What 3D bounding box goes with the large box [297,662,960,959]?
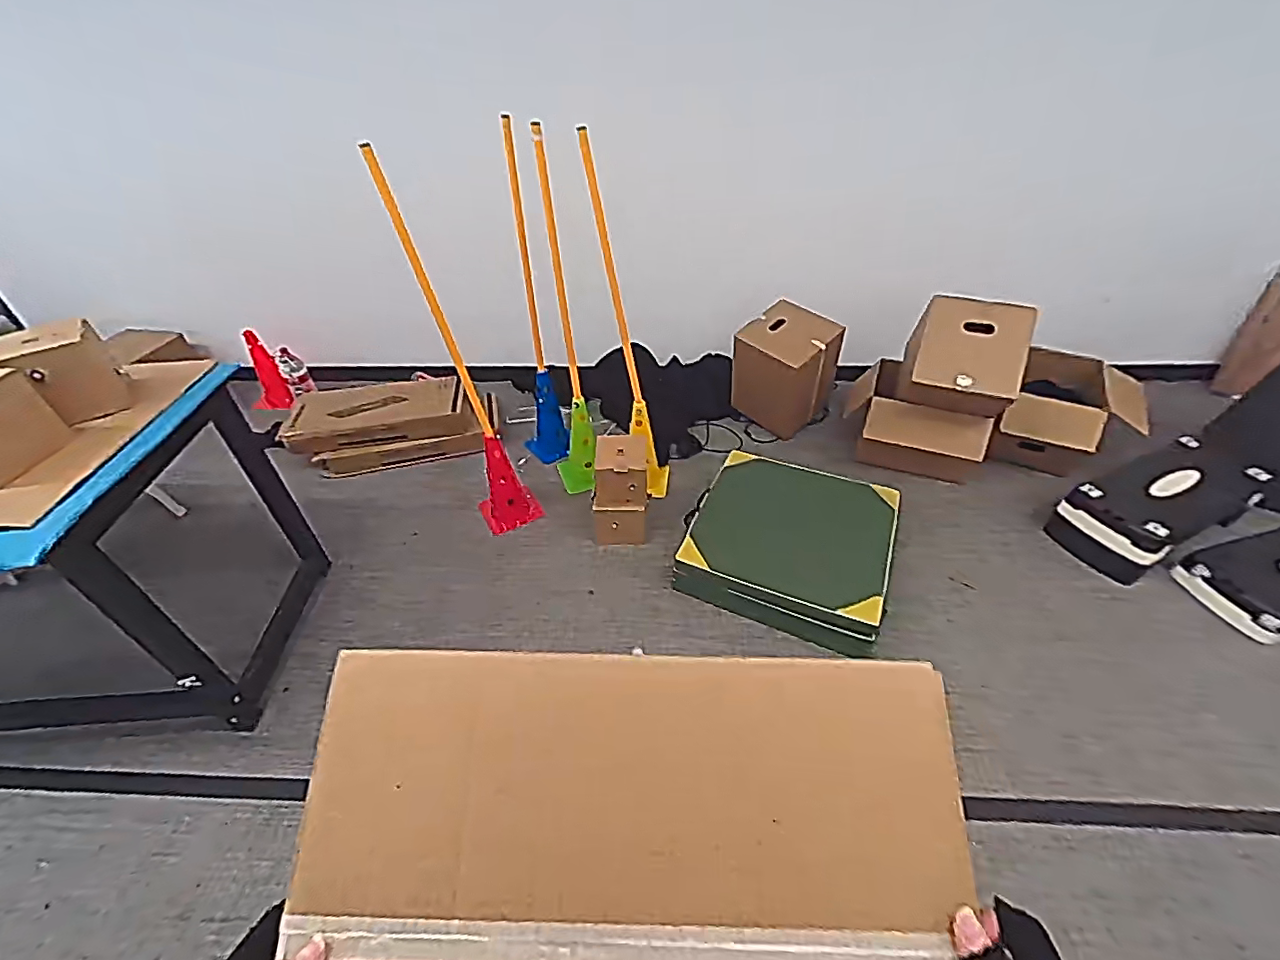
[{"bbox_3d":[-0.003,0.327,0.465,0.408,0.320,0.320,0,69,1],"label":"large box"}]
